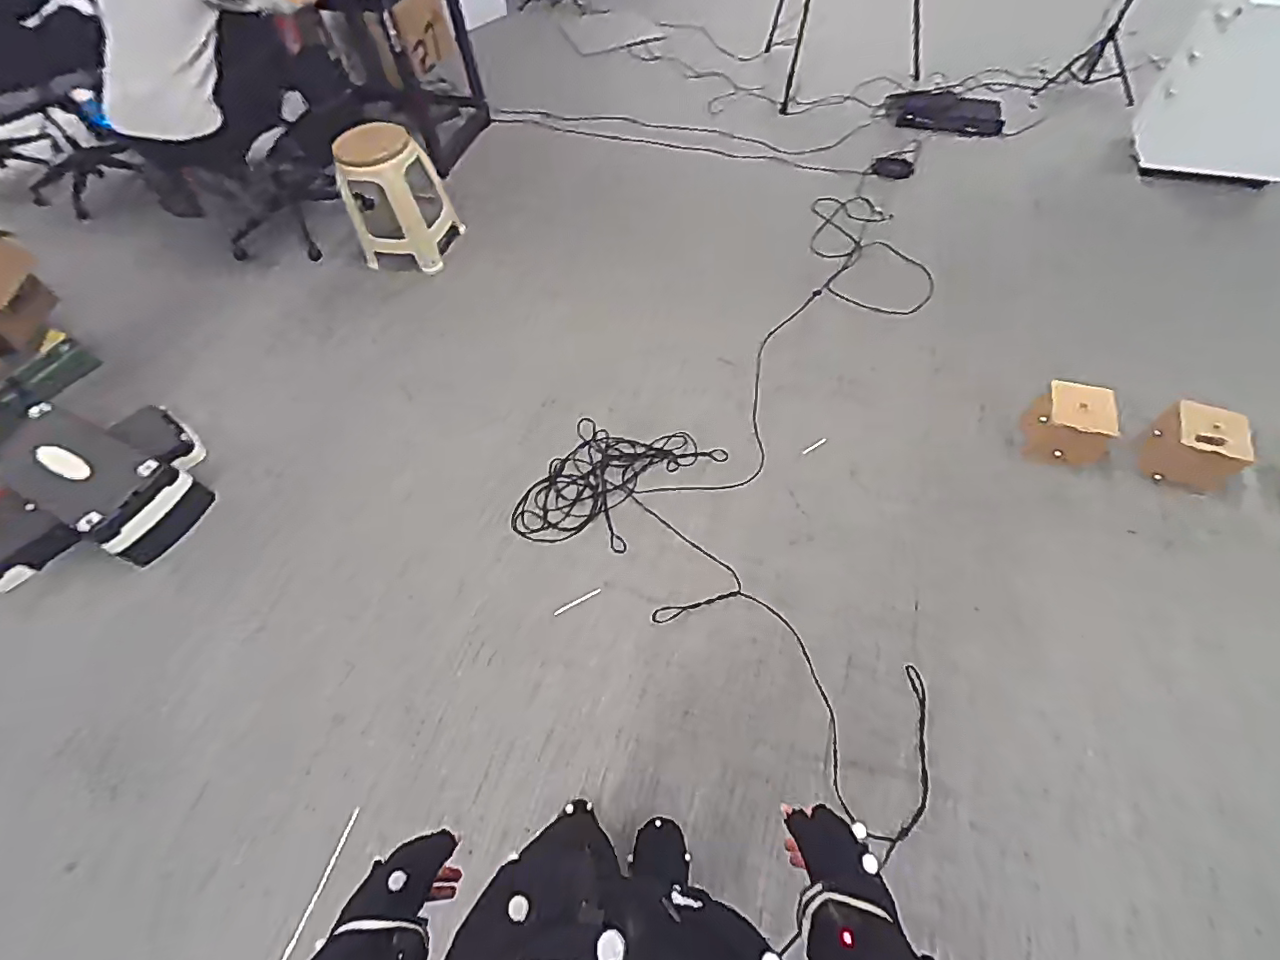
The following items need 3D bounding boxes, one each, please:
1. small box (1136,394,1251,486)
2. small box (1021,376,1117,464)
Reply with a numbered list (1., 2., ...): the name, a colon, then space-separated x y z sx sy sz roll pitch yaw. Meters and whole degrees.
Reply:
1. small box: 1.565 -0.109 1.539 0.168 0.176 0.179 20 61 16
2. small box: 1.266 -0.178 1.609 0.168 0.176 0.179 14 61 13
